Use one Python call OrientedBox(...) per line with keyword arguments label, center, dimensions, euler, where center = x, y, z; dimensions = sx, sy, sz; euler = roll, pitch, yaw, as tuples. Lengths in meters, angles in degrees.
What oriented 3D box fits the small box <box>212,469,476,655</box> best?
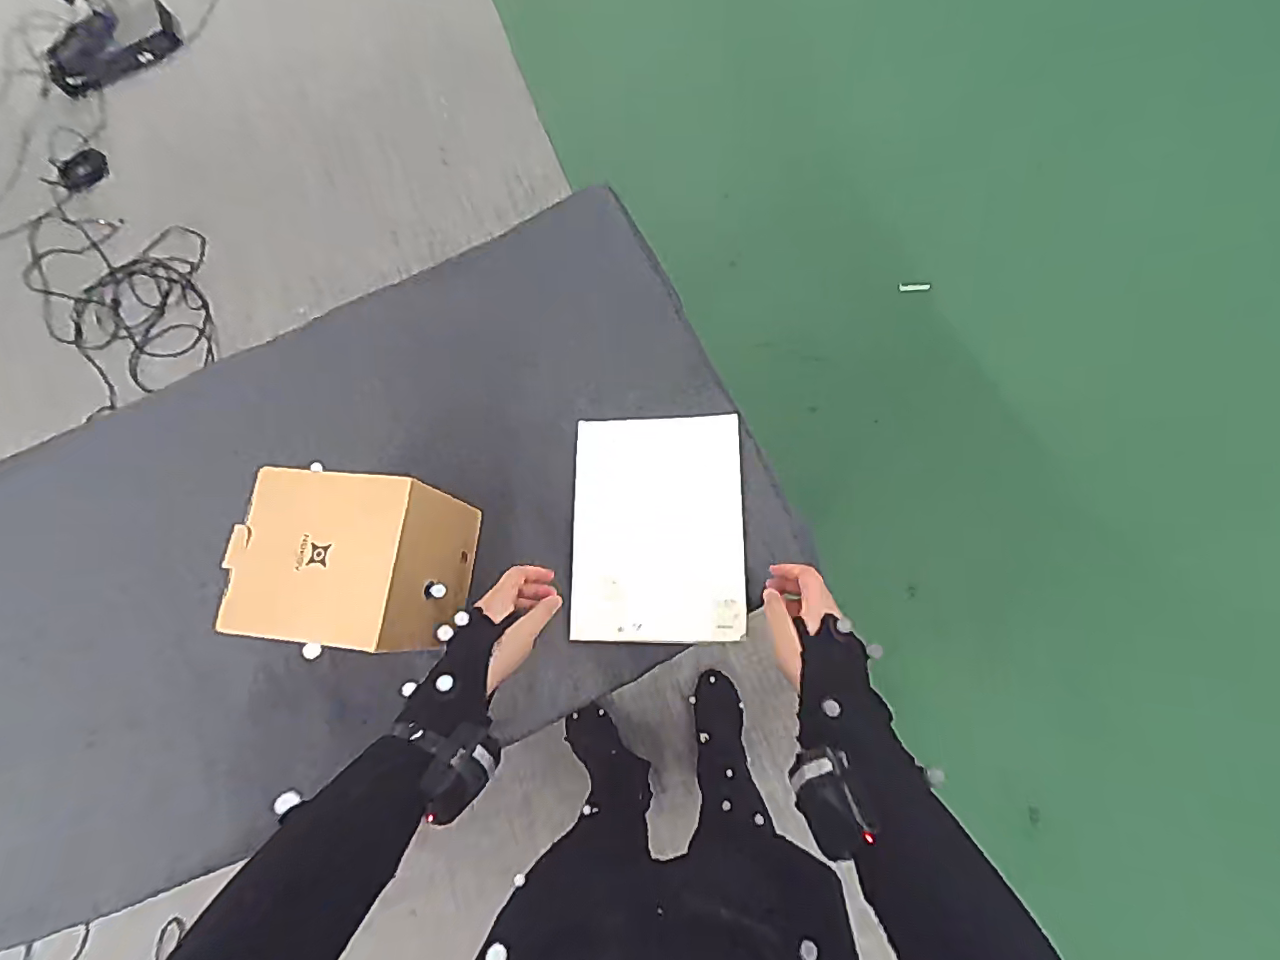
OrientedBox(label="small box", center=(-0.302, 0.092, 0.594), dimensions=(0.179, 0.176, 0.168), euler=(3, 76, 10))
